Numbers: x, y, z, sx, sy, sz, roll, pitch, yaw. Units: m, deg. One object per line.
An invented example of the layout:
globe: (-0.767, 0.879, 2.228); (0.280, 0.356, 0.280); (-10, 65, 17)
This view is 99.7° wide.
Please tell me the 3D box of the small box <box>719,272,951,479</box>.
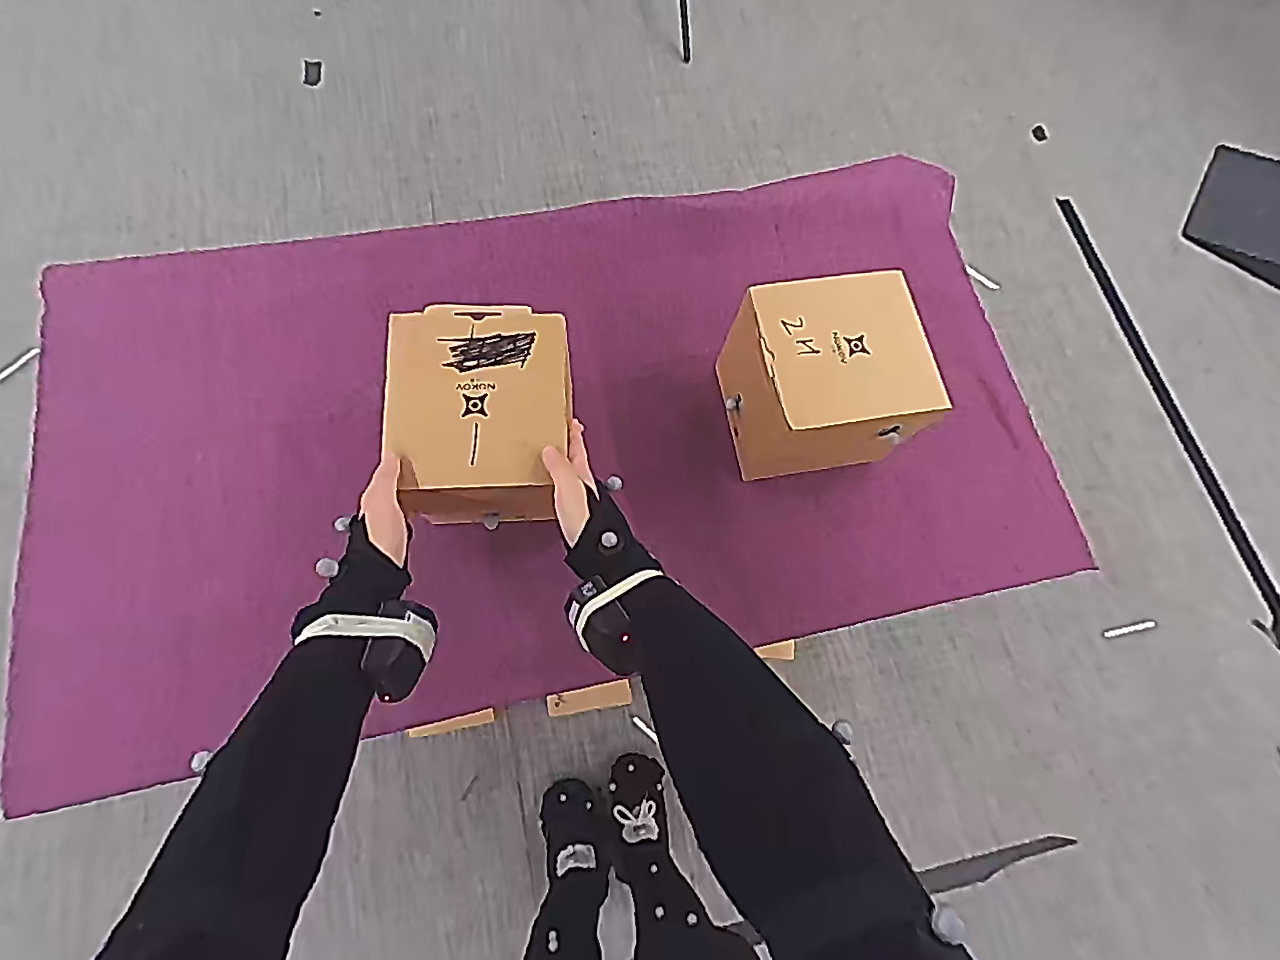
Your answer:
small box: (0.205, -0.111, 0.622); (0.179, 0.176, 0.168); (-9, 74, -7)

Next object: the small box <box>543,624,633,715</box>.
small box: (-0.117, 0.414, 1.207); (0.179, 0.176, 0.168); (-6, 75, -6)

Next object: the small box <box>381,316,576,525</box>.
small box: (-0.155, -0.053, 0.576); (0.168, 0.176, 0.179); (-2, 76, -5)
